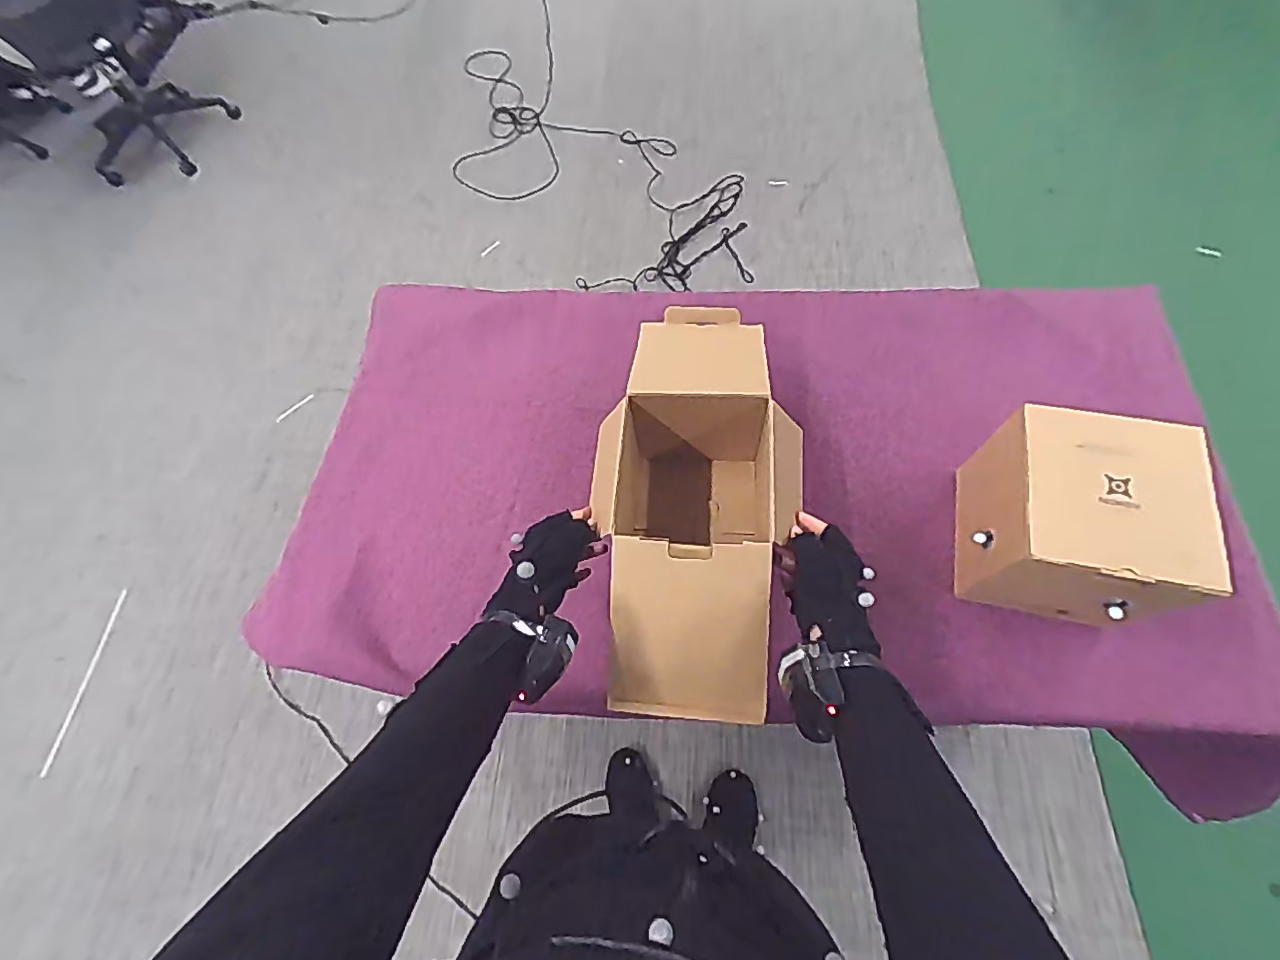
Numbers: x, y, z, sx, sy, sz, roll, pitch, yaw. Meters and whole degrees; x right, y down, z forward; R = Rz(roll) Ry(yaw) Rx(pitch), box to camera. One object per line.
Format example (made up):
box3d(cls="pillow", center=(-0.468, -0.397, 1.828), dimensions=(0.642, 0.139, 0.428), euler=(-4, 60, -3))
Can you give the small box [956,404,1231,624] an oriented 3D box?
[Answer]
box3d(cls="small box", center=(0.468, 0.045, 0.592), dimensions=(0.168, 0.176, 0.179), euler=(11, 66, 11))
